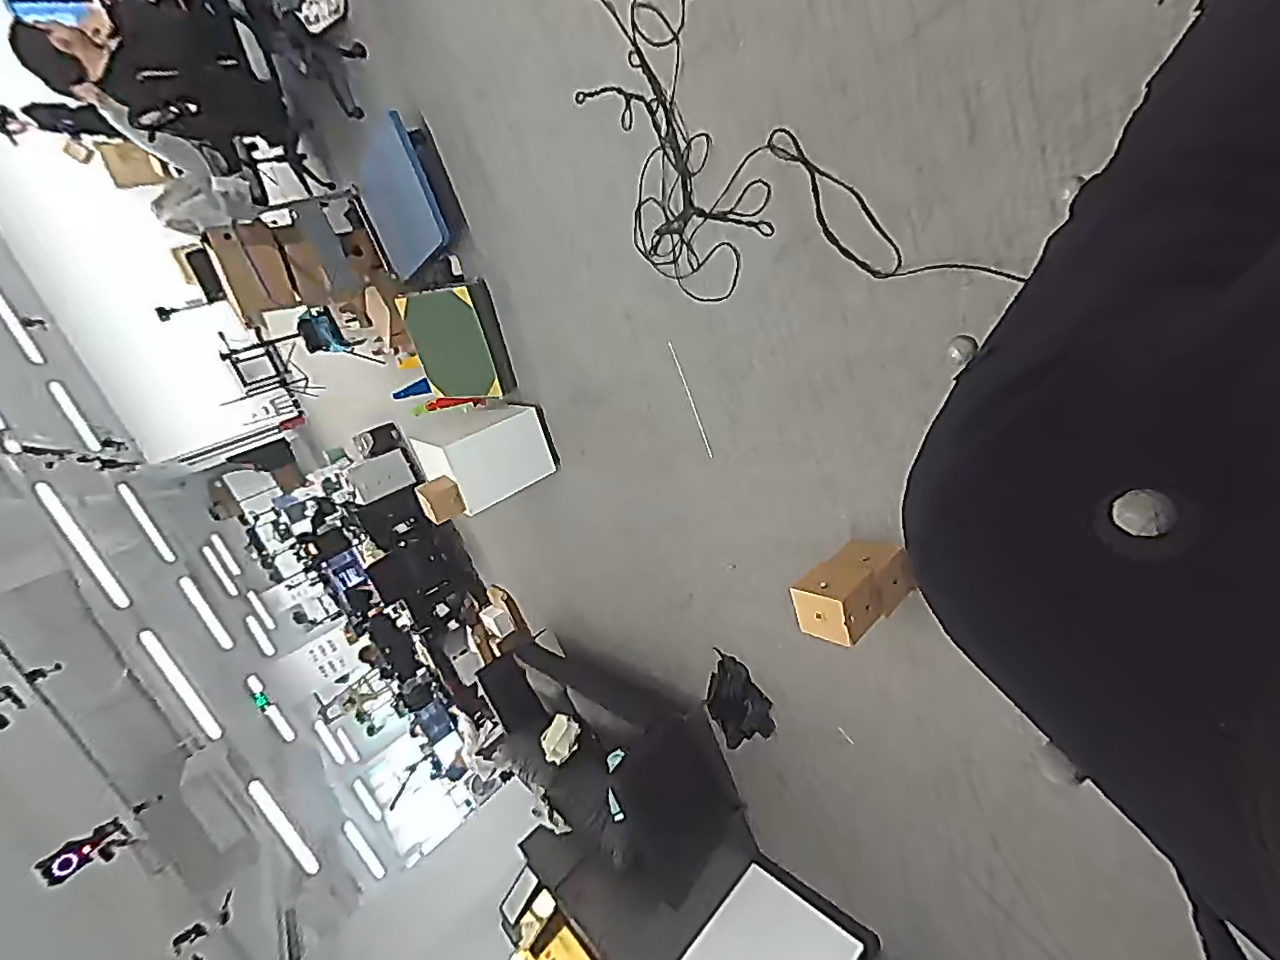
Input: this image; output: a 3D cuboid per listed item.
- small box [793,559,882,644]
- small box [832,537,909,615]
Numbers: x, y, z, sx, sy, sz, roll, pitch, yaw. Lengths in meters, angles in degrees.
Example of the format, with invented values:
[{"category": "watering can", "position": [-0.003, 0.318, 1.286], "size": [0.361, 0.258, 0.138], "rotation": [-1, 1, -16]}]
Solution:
[{"category": "small box", "position": [0.596, 0.356, 1.626], "size": [0.179, 0.176, 0.168], "rotation": [5, 120, 52]}, {"category": "small box", "position": [0.727, 0.296, 1.705], "size": [0.179, 0.176, 0.168], "rotation": [4, 119, 52]}]
